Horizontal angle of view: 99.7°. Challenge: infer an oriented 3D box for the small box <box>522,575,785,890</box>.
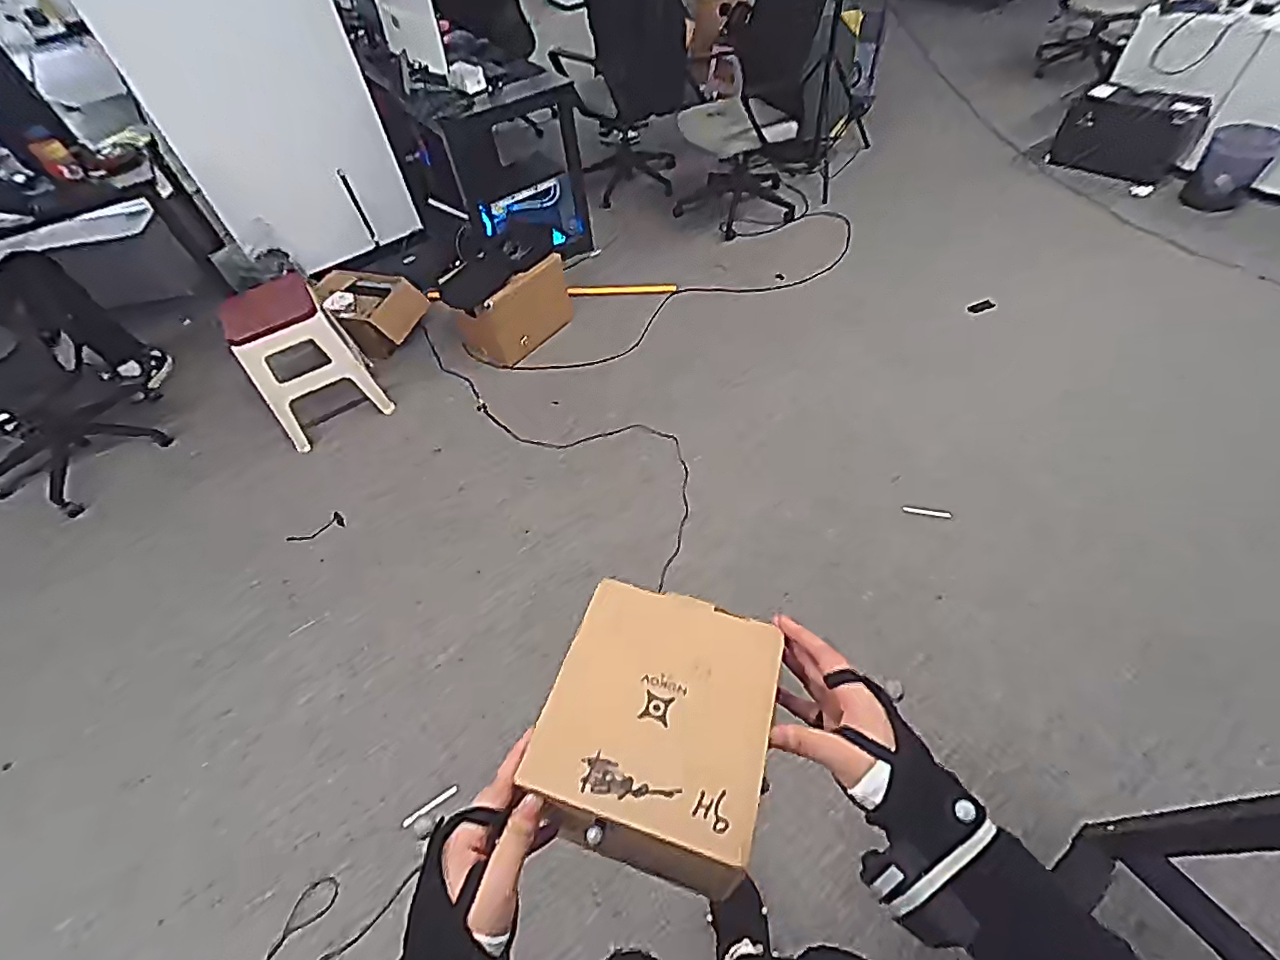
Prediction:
[{"bbox_3d":[0.021,0.217,0.472,0.168,0.176,0.179,12,47,15],"label":"small box"}]
